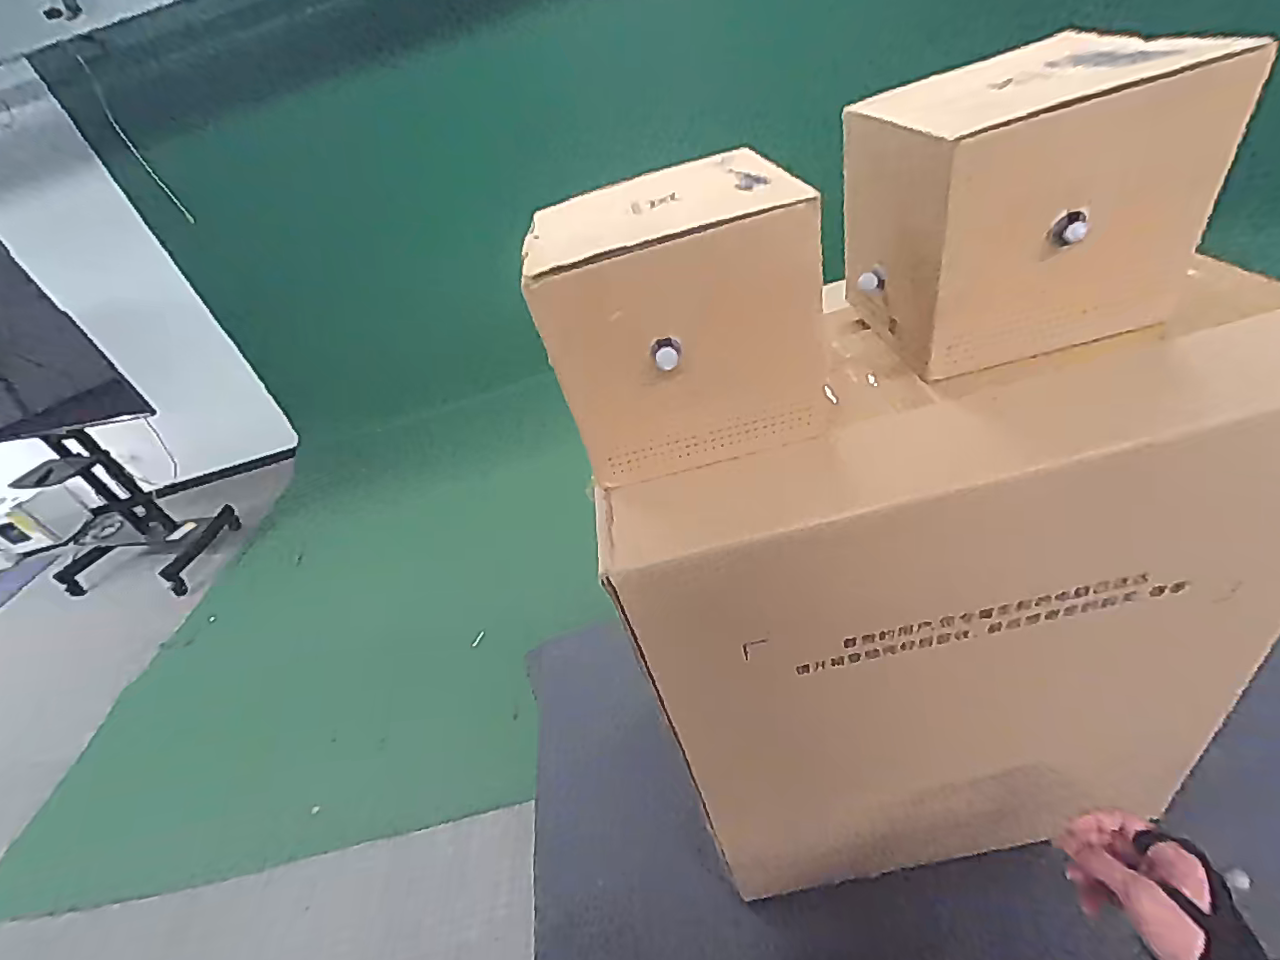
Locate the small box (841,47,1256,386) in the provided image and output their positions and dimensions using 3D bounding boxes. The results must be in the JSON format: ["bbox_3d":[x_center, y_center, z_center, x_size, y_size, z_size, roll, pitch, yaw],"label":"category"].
[{"bbox_3d":[0.269,-0.199,0.414,0.179,0.176,0.168,-16,39,6],"label":"small box"}]

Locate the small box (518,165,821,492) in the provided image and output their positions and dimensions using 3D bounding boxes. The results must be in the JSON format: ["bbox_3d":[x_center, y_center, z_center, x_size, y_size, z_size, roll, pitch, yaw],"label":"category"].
[{"bbox_3d":[0.026,-0.114,0.419,0.179,0.176,0.168,-16,39,5],"label":"small box"}]
